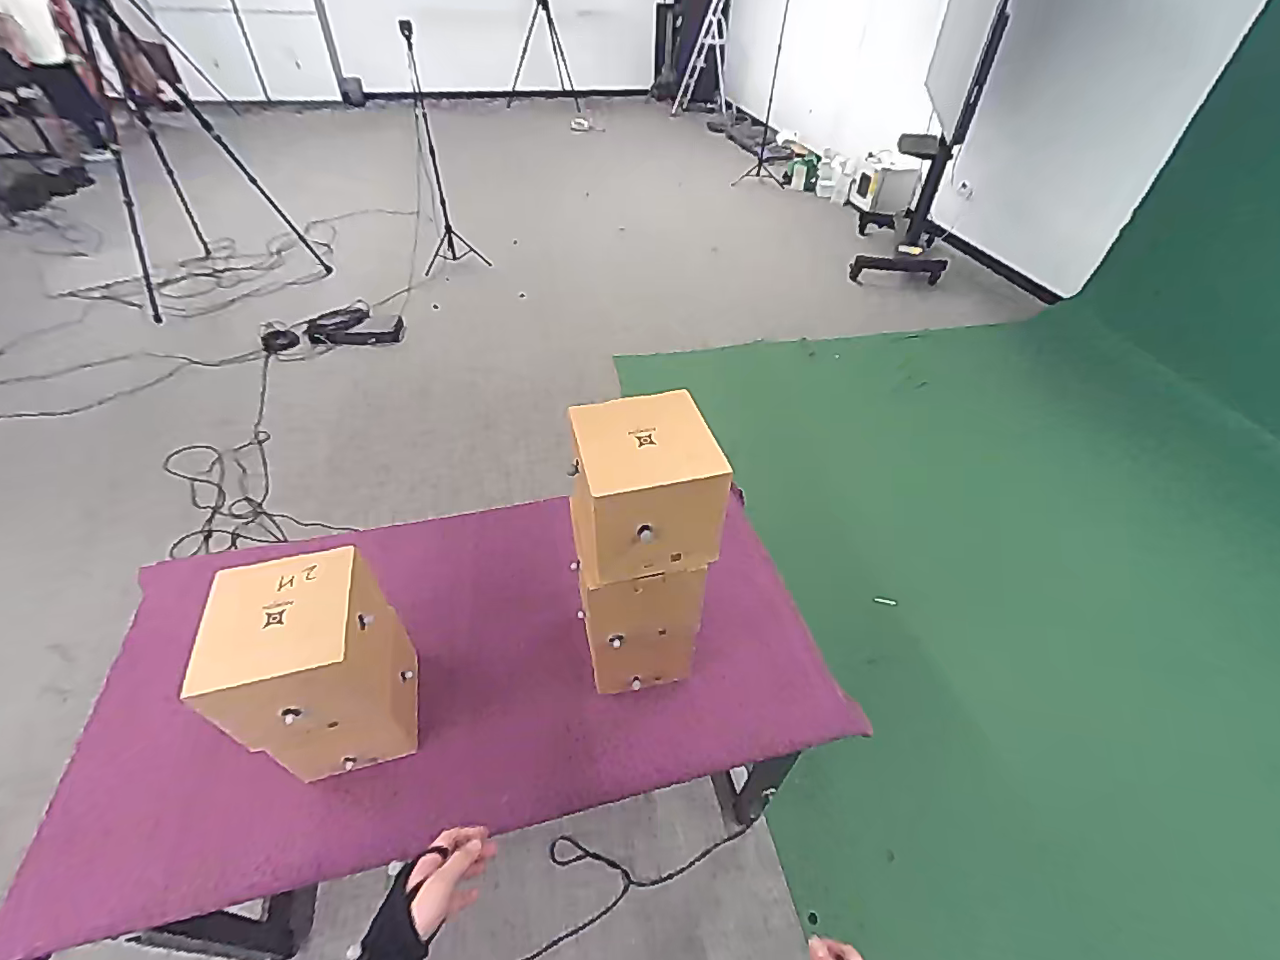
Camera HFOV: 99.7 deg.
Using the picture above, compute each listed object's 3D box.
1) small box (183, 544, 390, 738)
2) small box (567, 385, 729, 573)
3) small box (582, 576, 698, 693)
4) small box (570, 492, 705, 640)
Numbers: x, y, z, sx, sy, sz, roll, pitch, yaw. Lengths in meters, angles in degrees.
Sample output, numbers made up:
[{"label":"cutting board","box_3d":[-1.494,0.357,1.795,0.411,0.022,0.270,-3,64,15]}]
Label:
[{"label":"small box","box_3d":[-0.439,0.215,0.709,0.168,0.176,0.179,-10,46,-13]},{"label":"small box","box_3d":[0.006,0.004,0.709,0.168,0.176,0.179,-11,44,-10]},{"label":"small box","box_3d":[-0.008,0.237,0.935,0.168,0.176,0.179,-9,45,-9]},{"label":"small box","box_3d":[-0.006,0.123,0.819,0.168,0.176,0.179,-9,44,-9]}]
